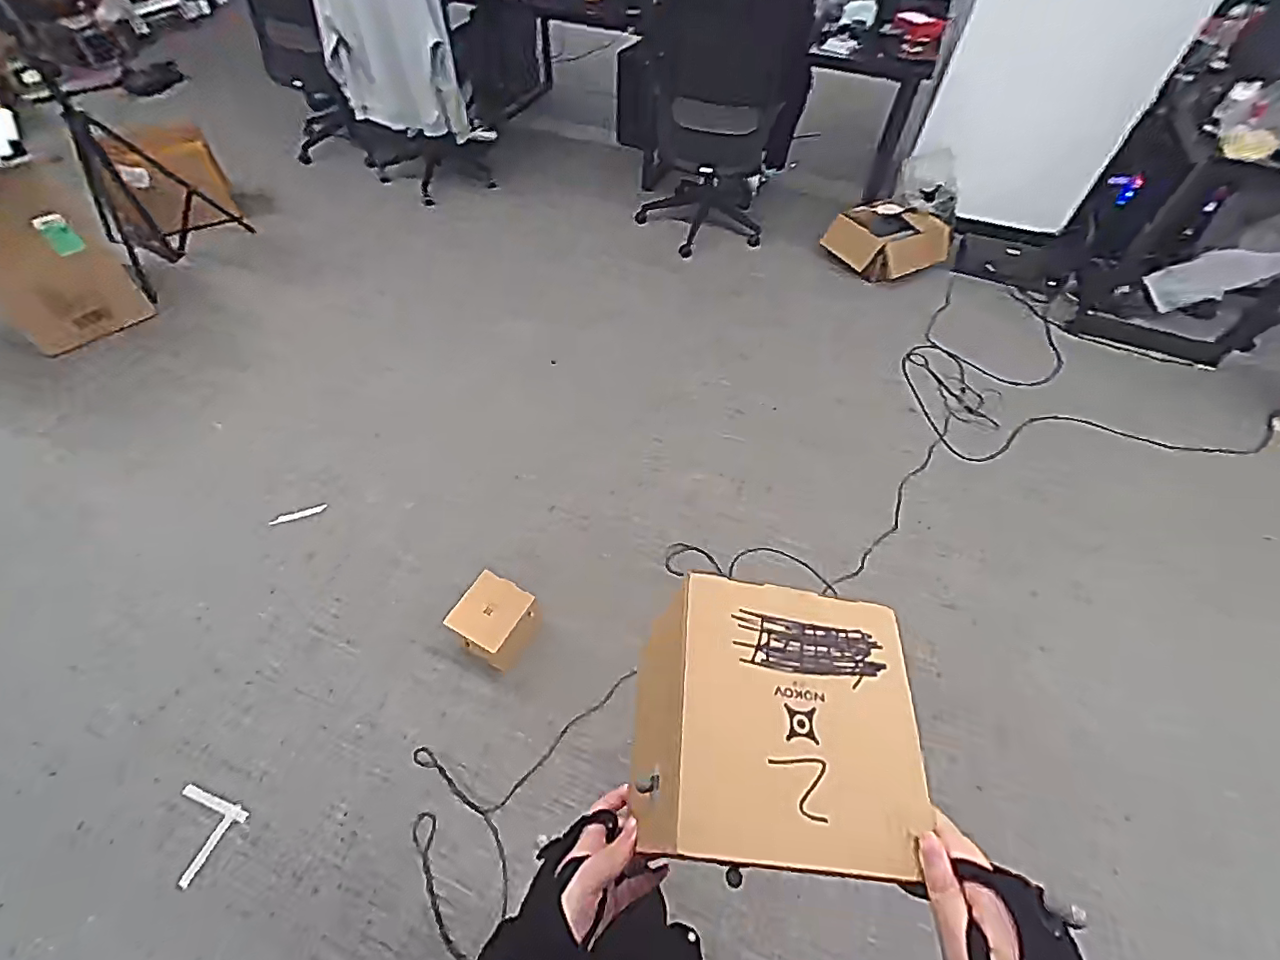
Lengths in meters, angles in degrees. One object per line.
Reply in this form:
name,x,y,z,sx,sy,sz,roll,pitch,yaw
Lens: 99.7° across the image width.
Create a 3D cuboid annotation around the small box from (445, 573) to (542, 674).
small box,-0.376,0.385,1.433,0.168,0.176,0.179,24,56,16
